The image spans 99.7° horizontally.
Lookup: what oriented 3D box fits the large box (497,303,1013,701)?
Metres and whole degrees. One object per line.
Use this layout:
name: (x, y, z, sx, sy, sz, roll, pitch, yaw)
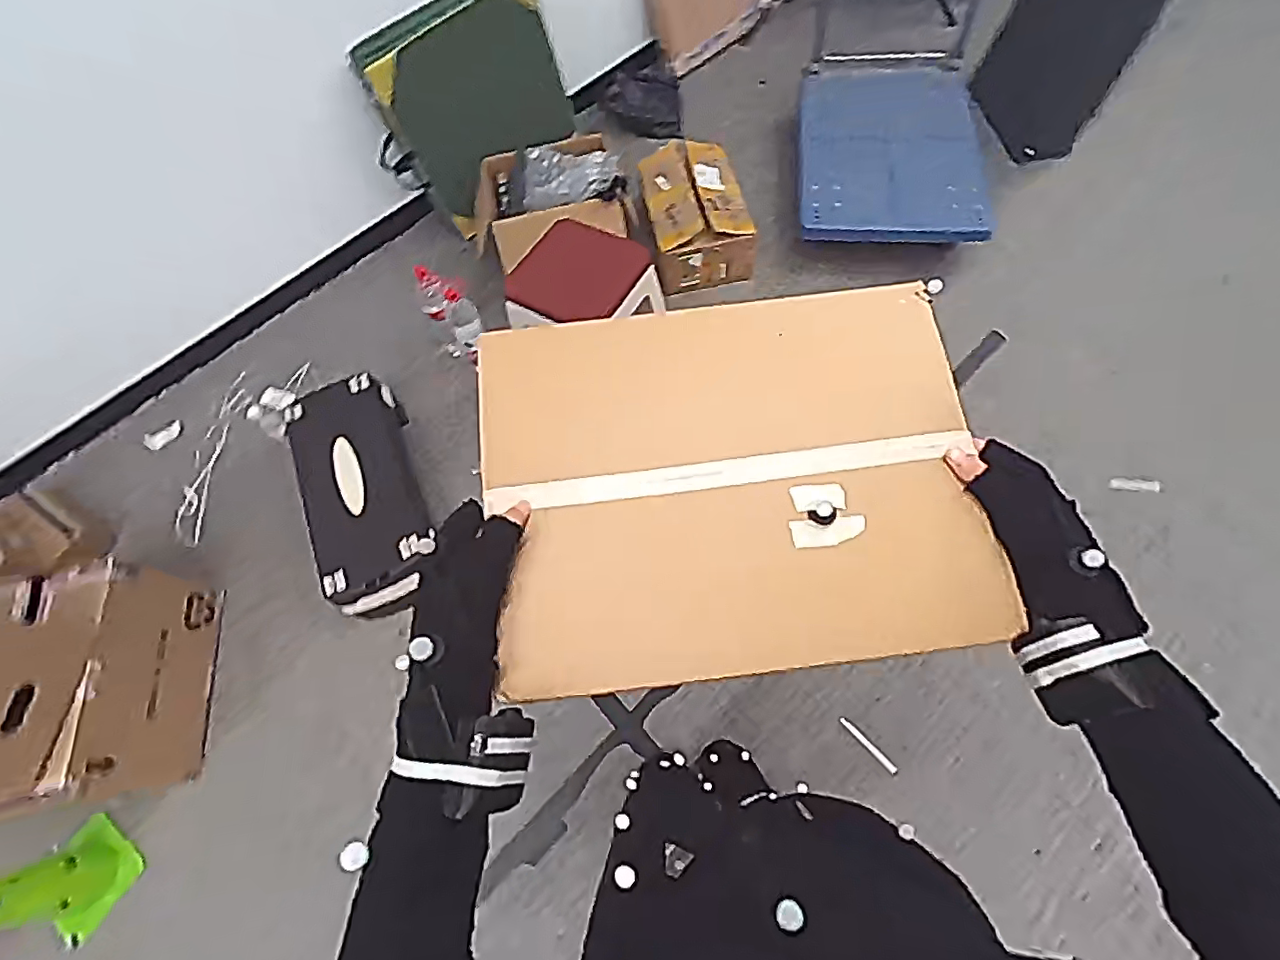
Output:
large box: (0.083, 0.045, 0.606, 0.408, 0.320, 0.320, -7, 74, -1)
